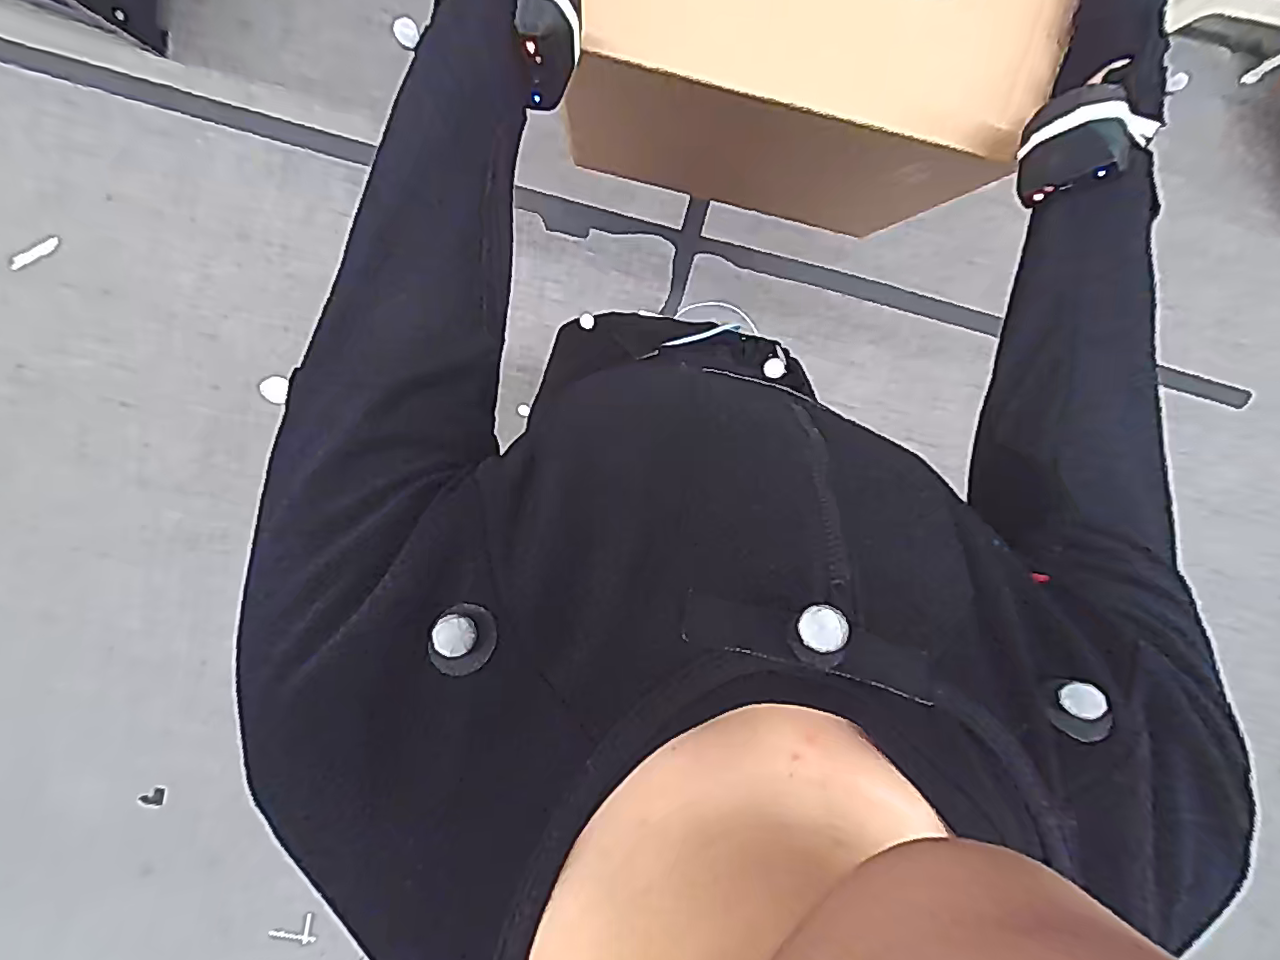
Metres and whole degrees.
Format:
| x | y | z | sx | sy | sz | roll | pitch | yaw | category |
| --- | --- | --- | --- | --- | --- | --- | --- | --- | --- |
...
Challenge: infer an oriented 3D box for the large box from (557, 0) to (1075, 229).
| x | y | z | sx | sy | sz | roll | pitch | yaw | category |
| --- | --- | --- | --- | --- | --- | --- | --- | --- | --- |
| 0.147 | -0.485 | 0.544 | 0.408 | 0.320 | 0.320 | 11 | 105 | -6 | large box |
